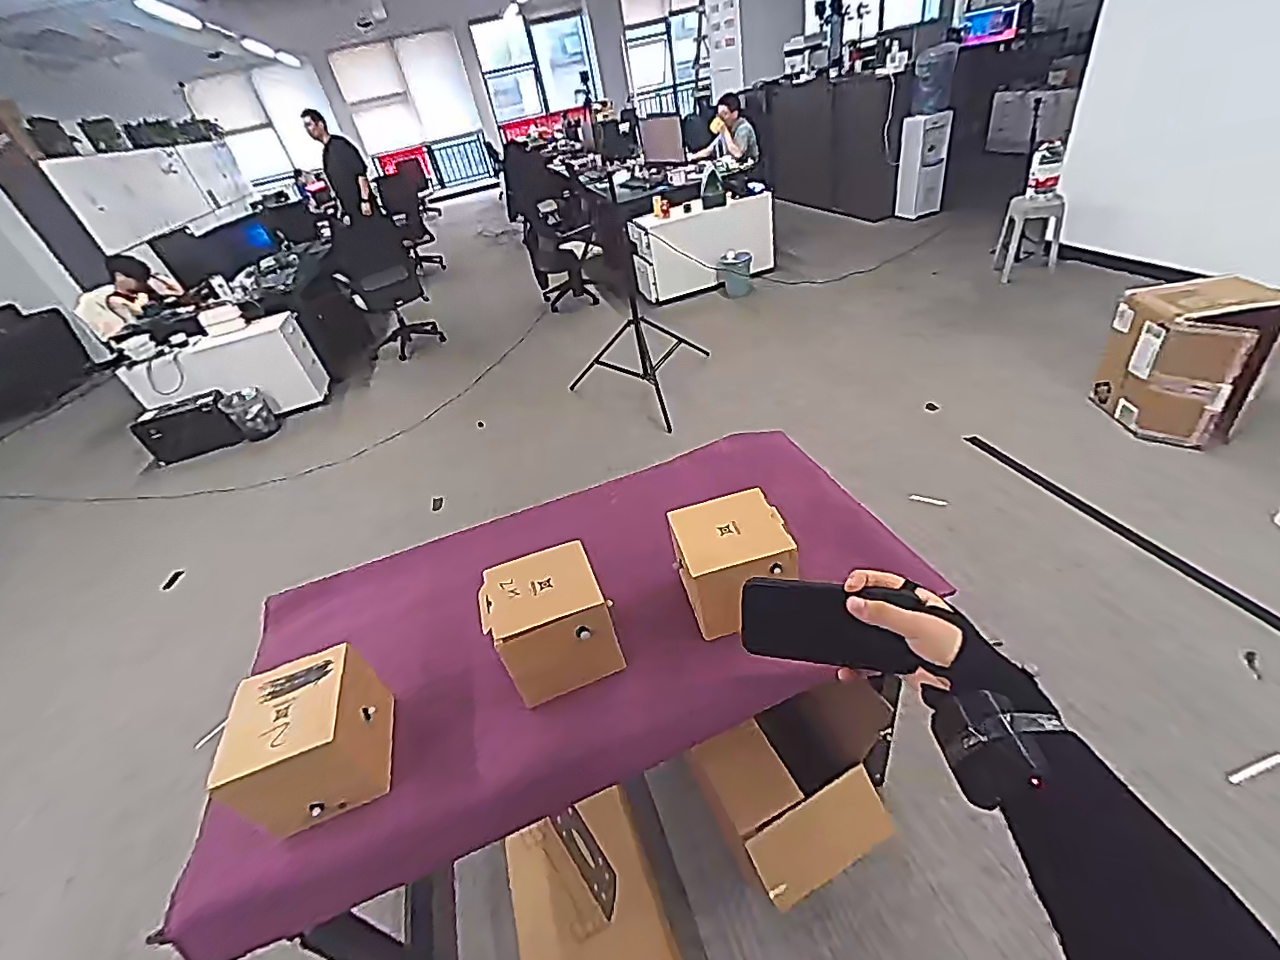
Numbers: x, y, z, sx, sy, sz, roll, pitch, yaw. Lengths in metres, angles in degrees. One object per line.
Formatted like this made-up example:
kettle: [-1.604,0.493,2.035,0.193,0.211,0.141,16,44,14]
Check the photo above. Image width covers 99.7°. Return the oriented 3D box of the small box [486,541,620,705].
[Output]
small box: [-0.142,0.239,0.912,0.179,0.176,0.168,-20,35,-10]

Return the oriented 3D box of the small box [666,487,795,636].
small box: [0.160,0.144,0.946,0.179,0.176,0.168,-16,37,-4]
